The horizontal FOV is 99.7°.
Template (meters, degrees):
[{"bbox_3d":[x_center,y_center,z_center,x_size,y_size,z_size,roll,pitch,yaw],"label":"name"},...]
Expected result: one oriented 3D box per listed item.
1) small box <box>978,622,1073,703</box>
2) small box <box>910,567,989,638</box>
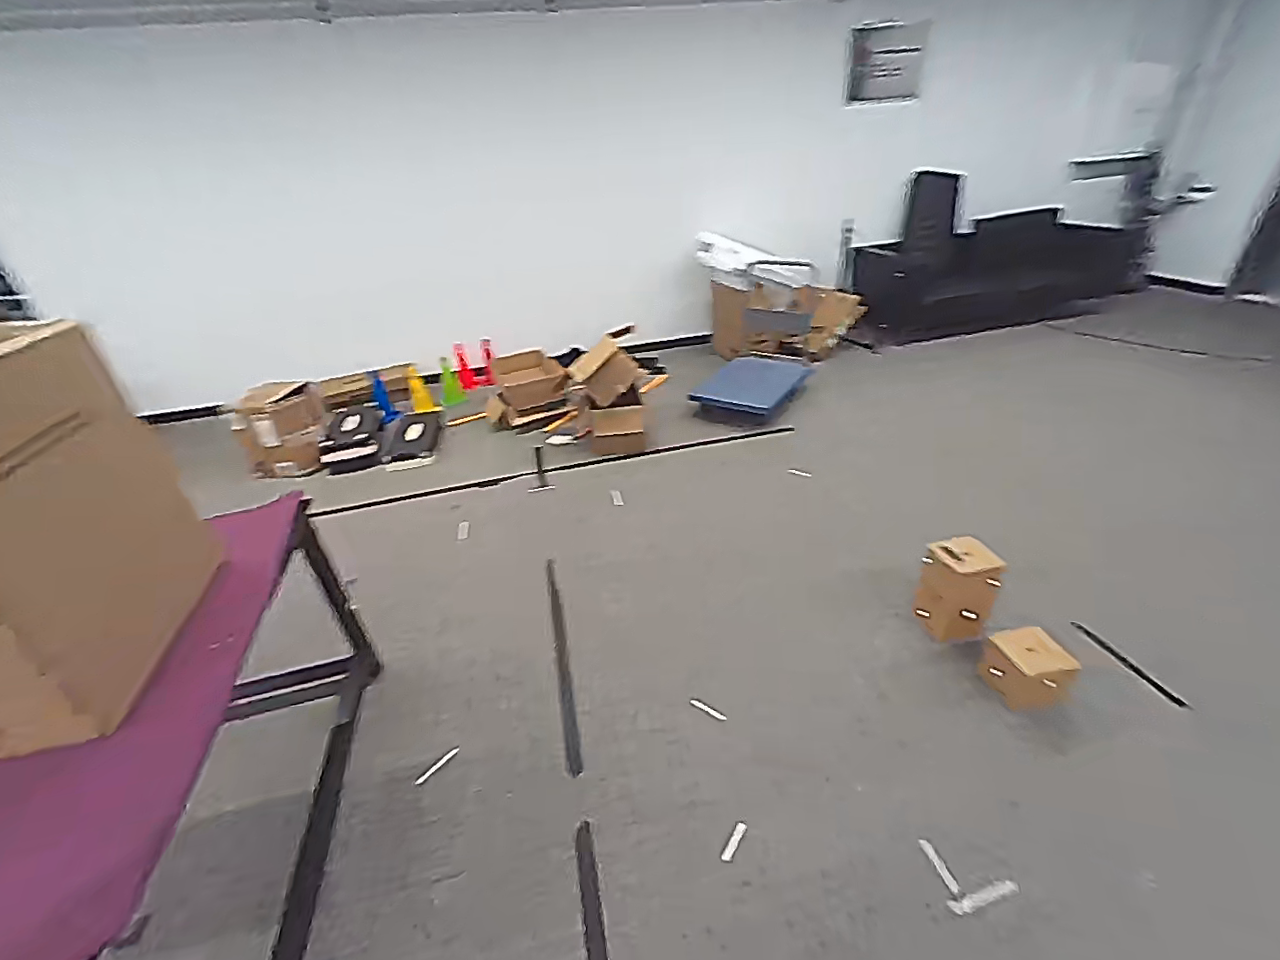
[{"bbox_3d":[1.211,0.583,1.718,0.179,0.176,0.168,-9,32,-6],"label":"small box"},{"bbox_3d":[1.117,0.447,1.968,0.179,0.176,0.168,-10,31,-7],"label":"small box"}]
